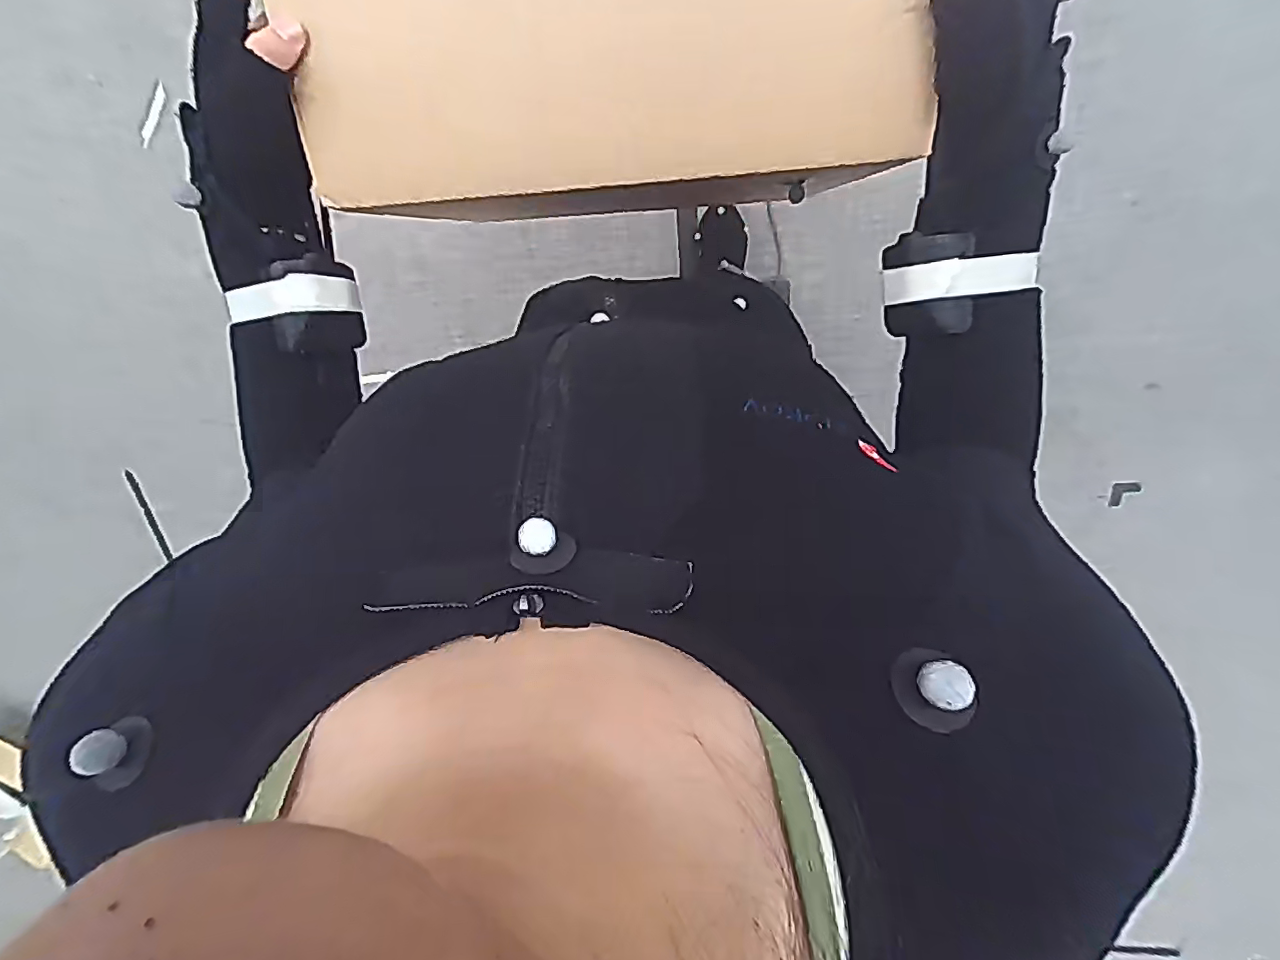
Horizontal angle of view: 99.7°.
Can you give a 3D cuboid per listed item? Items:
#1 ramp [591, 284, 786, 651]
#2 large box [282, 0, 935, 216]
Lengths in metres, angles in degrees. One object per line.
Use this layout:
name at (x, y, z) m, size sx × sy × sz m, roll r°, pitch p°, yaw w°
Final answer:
ramp at (0.143, 0.006, 1.478) m, size 0.509 × 0.206 × 0.991 m, roll -4°, pitch 111°, yaw 8°
large box at (-0.019, -0.404, 0.442) m, size 0.408 × 0.320 × 0.320 m, roll -3°, pitch 113°, yaw 4°
